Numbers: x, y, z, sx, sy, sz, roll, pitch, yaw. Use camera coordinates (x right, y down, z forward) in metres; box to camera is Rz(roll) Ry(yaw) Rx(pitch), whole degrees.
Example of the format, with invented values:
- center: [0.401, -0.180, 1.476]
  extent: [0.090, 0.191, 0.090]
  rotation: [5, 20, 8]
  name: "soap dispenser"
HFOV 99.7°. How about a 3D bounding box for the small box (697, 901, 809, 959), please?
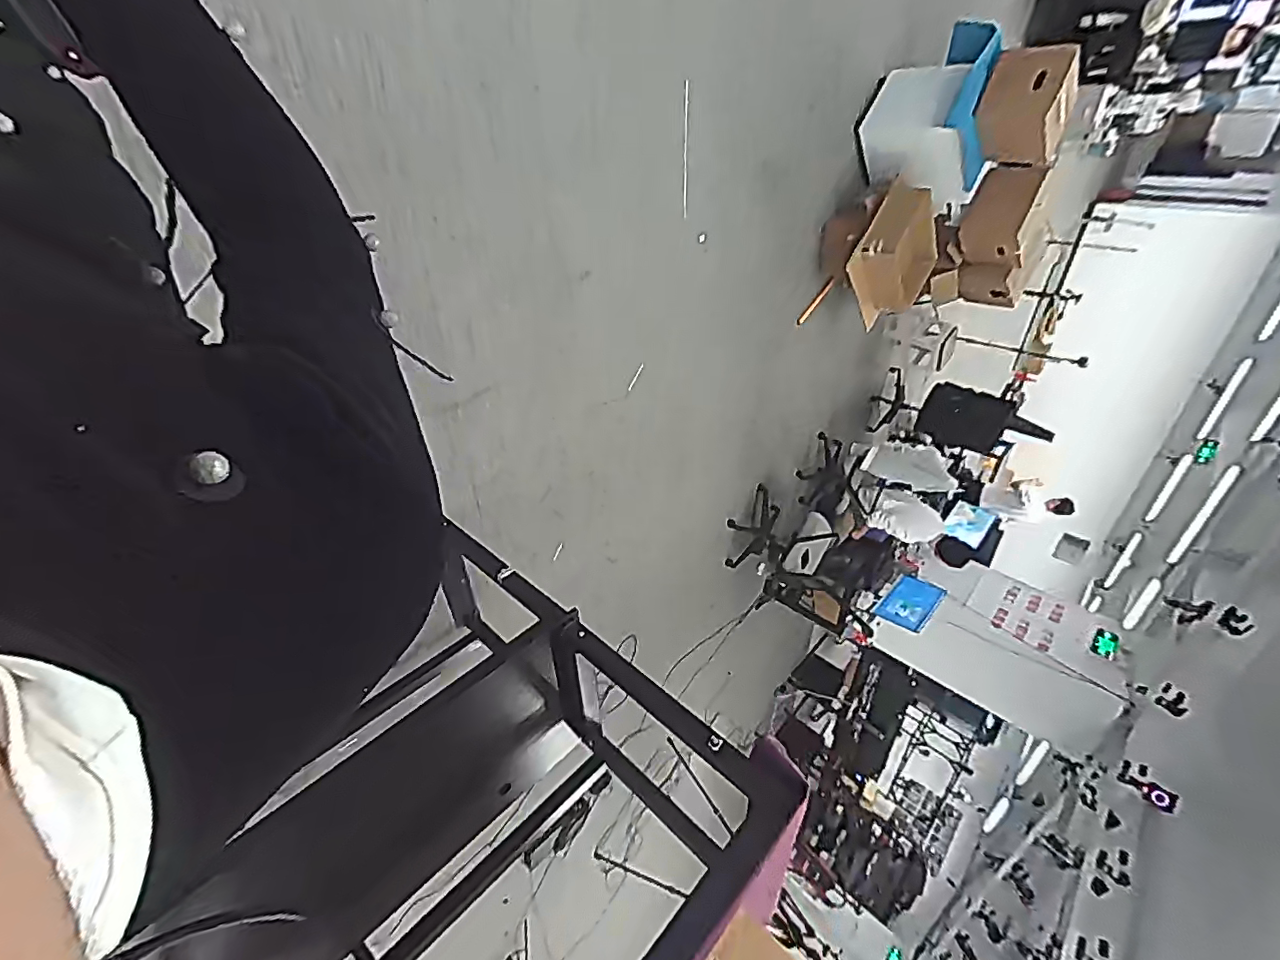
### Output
- center: [0.192, 0.904, 0.960]
  extent: [0.168, 0.176, 0.179]
  rotation: [-32, 136, -35]
  name: "small box"
